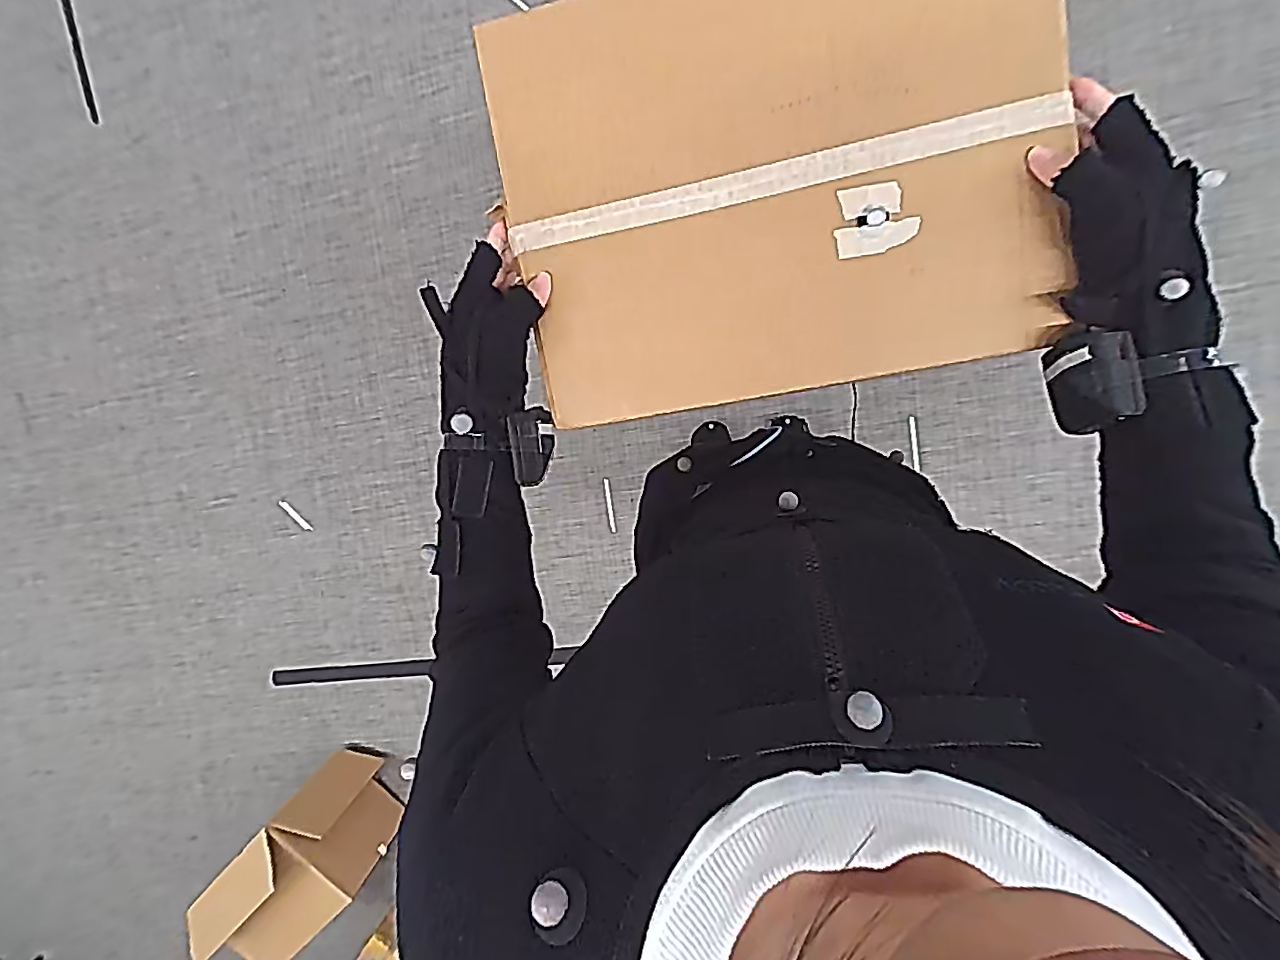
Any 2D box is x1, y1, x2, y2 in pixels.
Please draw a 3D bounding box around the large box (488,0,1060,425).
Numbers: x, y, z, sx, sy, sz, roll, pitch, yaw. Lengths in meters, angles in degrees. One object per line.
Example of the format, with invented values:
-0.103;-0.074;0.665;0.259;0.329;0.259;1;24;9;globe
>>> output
0.115;-0.251;0.564;0.408;0.320;0.320;-9;99;9;large box
